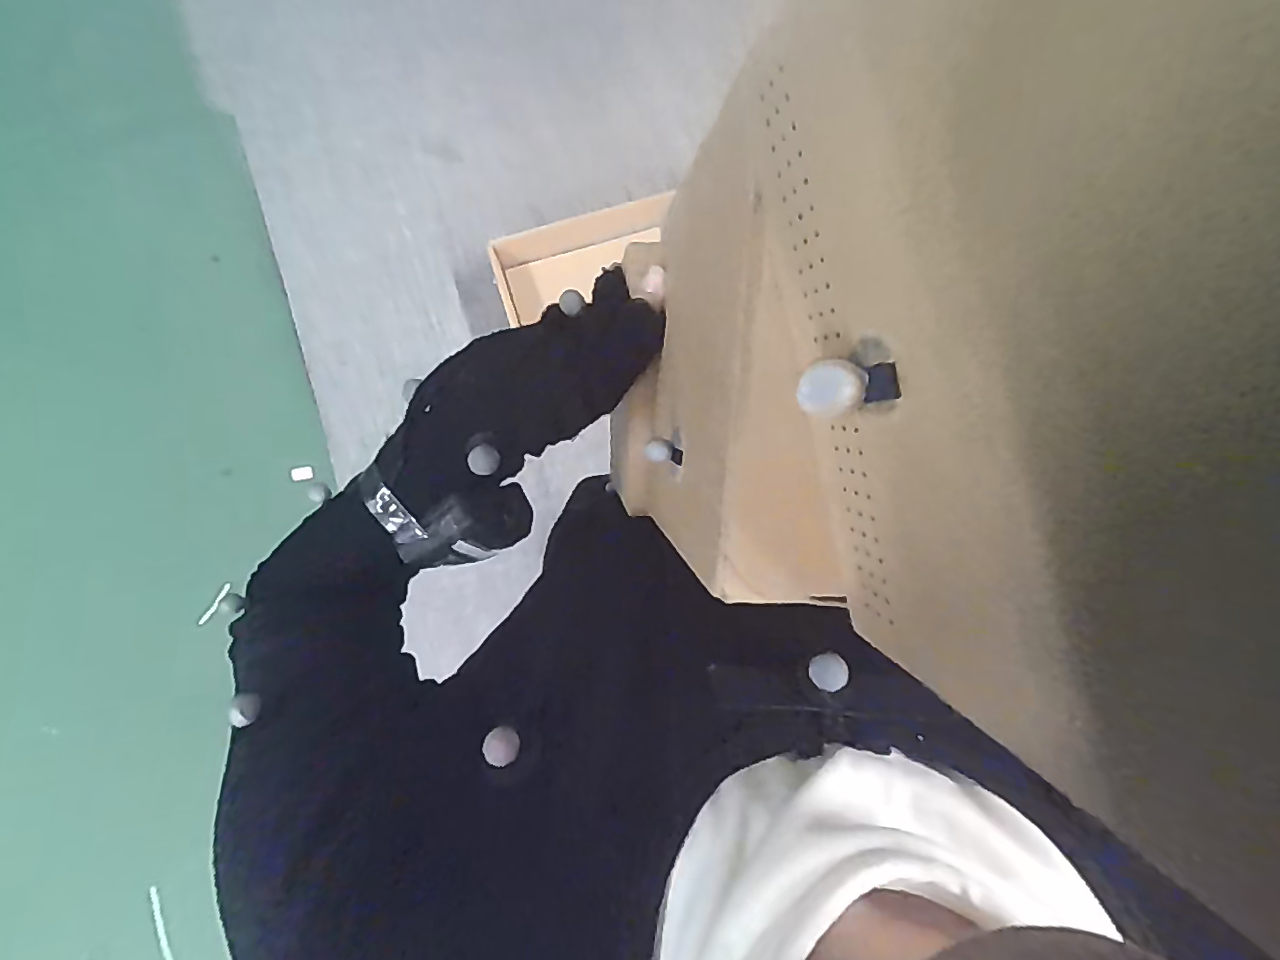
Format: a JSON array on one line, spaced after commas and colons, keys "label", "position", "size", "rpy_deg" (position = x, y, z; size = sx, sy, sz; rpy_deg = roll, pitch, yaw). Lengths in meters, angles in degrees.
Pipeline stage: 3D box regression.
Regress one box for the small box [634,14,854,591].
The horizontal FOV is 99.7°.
[{"label": "small box", "position": [0.091, -0.058, 0.258], "size": [0.168, 0.176, 0.179], "rpy_deg": [1, 97, -9]}]
